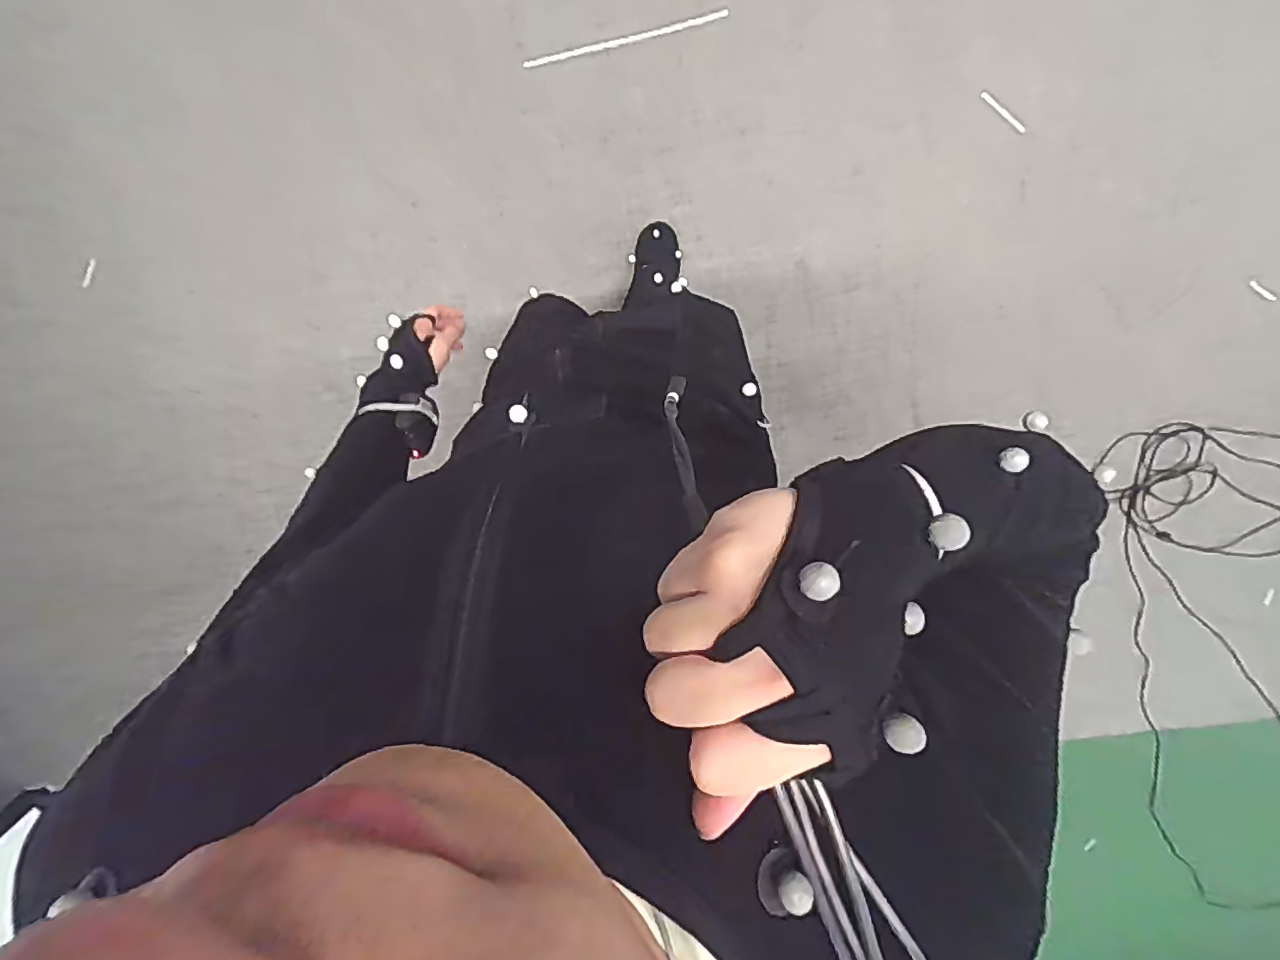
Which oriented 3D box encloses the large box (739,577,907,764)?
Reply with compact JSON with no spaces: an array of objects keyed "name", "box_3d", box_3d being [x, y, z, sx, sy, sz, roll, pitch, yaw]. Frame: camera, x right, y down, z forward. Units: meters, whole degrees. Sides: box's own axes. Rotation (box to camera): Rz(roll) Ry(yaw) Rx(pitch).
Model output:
[{"name":"large box","box_3d":[0.504,0.547,1.583,0.320,0.320,0.408,10,115,-2]}]
